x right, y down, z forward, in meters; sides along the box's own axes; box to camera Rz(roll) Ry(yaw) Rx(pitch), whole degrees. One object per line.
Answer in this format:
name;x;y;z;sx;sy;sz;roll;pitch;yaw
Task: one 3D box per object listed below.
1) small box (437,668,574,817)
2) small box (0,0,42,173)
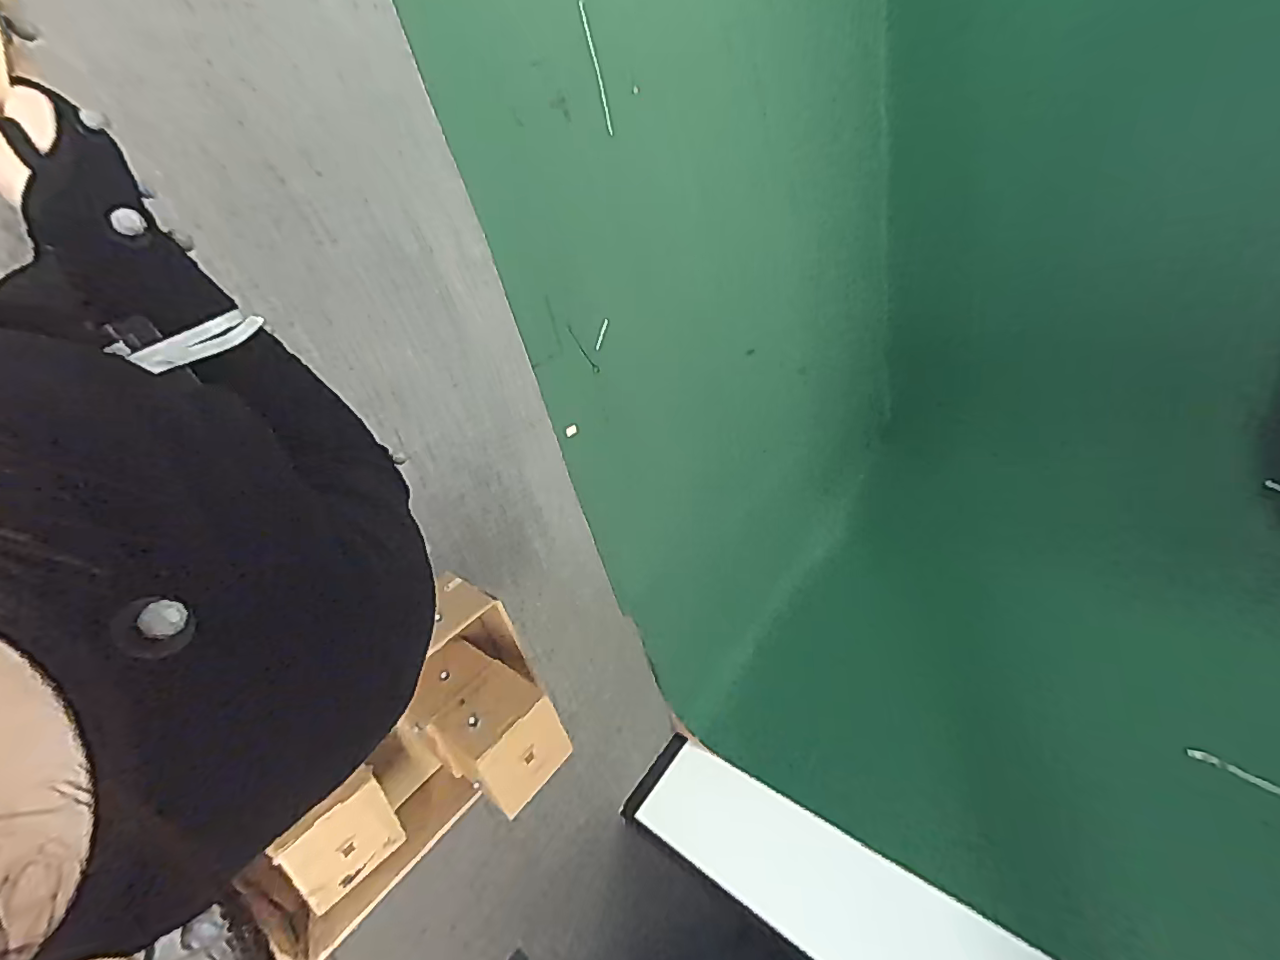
small box;-0.261;0.492;1.046;0.168;0.176;0.179;-37;126;-35
small box;-0.485;-0.299;0.307;0.168;0.176;0.179;-9;107;-41
